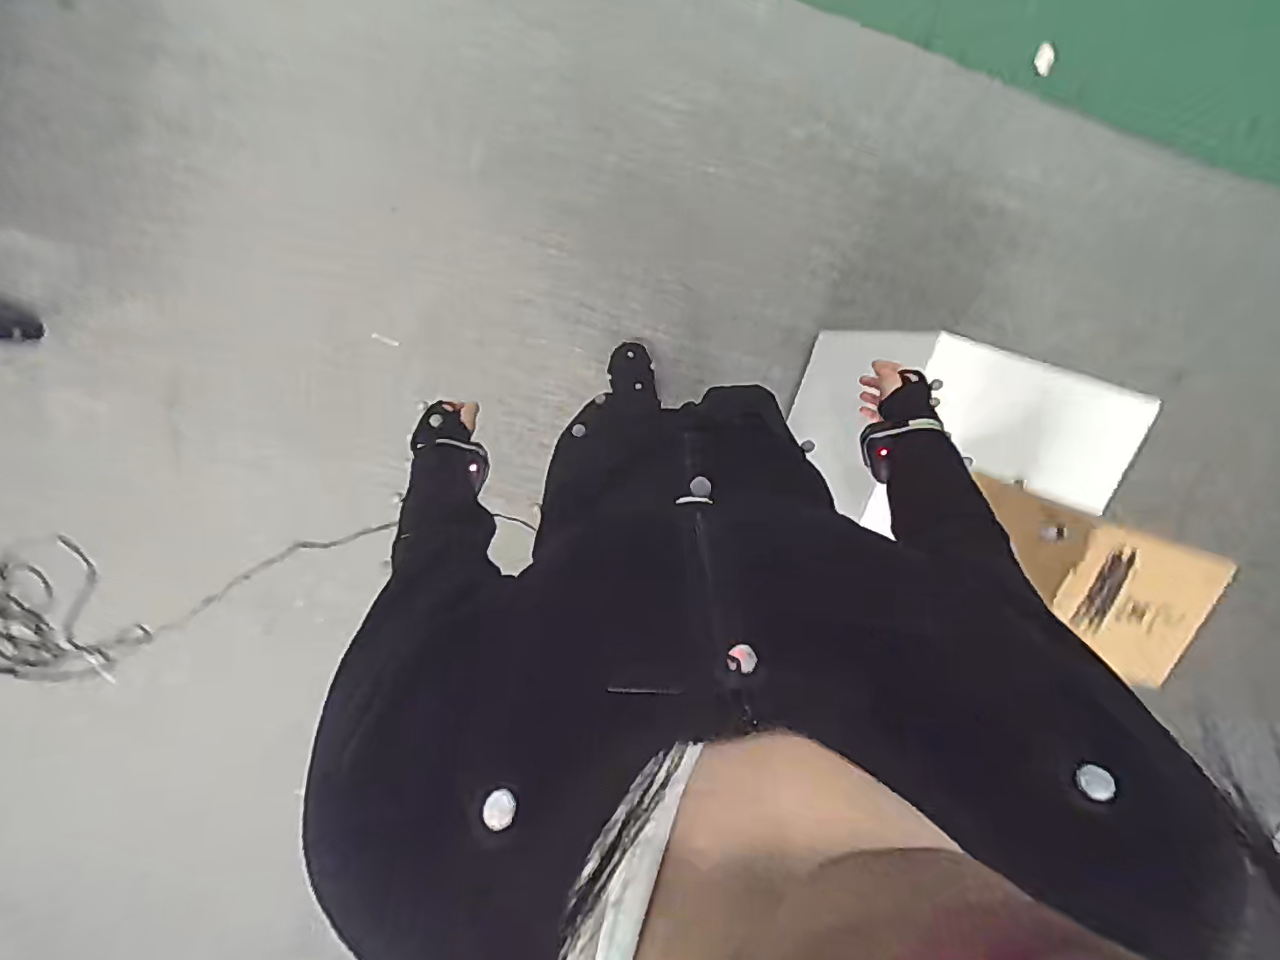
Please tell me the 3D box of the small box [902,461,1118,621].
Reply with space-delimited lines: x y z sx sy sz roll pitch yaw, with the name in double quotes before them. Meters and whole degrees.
"small box" 0.550 0.084 0.831 0.179 0.176 0.168 18 104 -7
